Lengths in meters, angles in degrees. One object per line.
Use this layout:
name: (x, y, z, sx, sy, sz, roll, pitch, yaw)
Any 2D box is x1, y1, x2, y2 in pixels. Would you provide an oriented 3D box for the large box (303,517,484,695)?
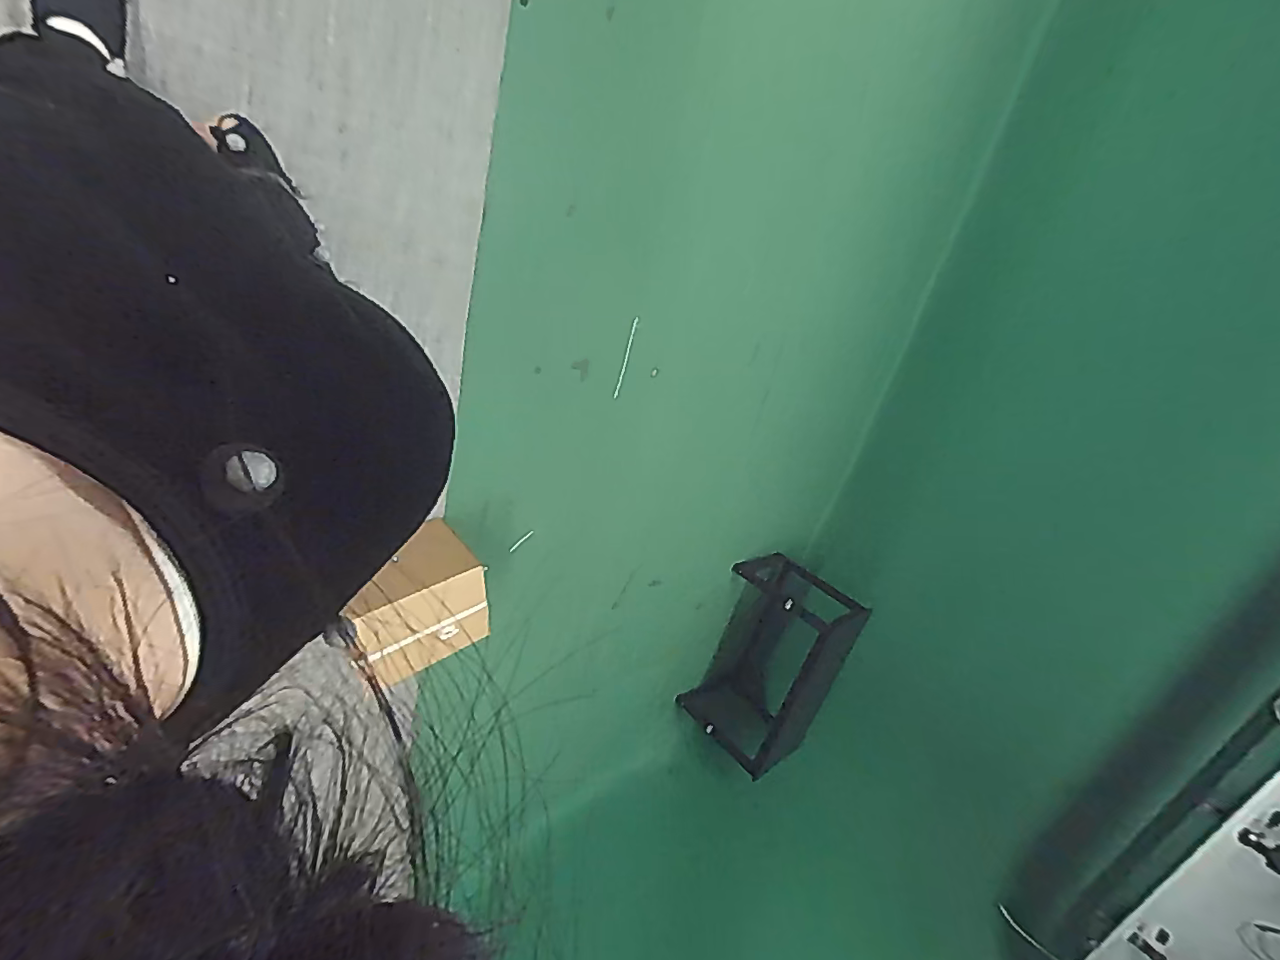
large box: (-0.756, 0.372, 1.692, 0.408, 0.320, 0.320, -23, 133, -37)
